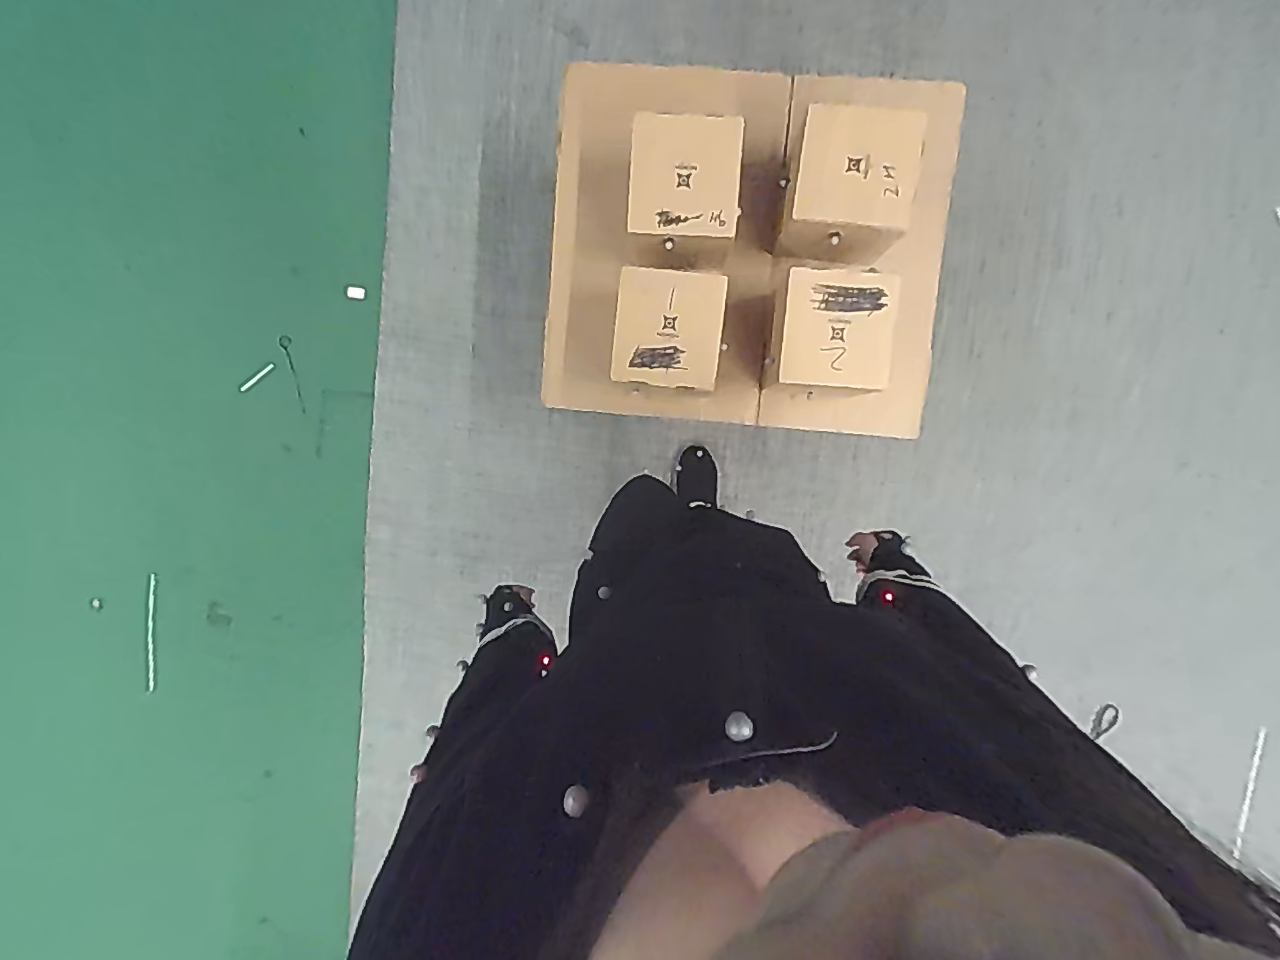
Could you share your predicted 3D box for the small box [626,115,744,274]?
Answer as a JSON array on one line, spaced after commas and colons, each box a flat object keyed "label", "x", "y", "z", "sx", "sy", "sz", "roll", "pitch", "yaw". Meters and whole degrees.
[{"label": "small box", "x": 0.072, "y": -0.455, "z": 0.883, "sx": 0.168, "sy": 0.176, "sz": 0.179, "roll": 4, "pitch": 94, "yaw": 5}]
